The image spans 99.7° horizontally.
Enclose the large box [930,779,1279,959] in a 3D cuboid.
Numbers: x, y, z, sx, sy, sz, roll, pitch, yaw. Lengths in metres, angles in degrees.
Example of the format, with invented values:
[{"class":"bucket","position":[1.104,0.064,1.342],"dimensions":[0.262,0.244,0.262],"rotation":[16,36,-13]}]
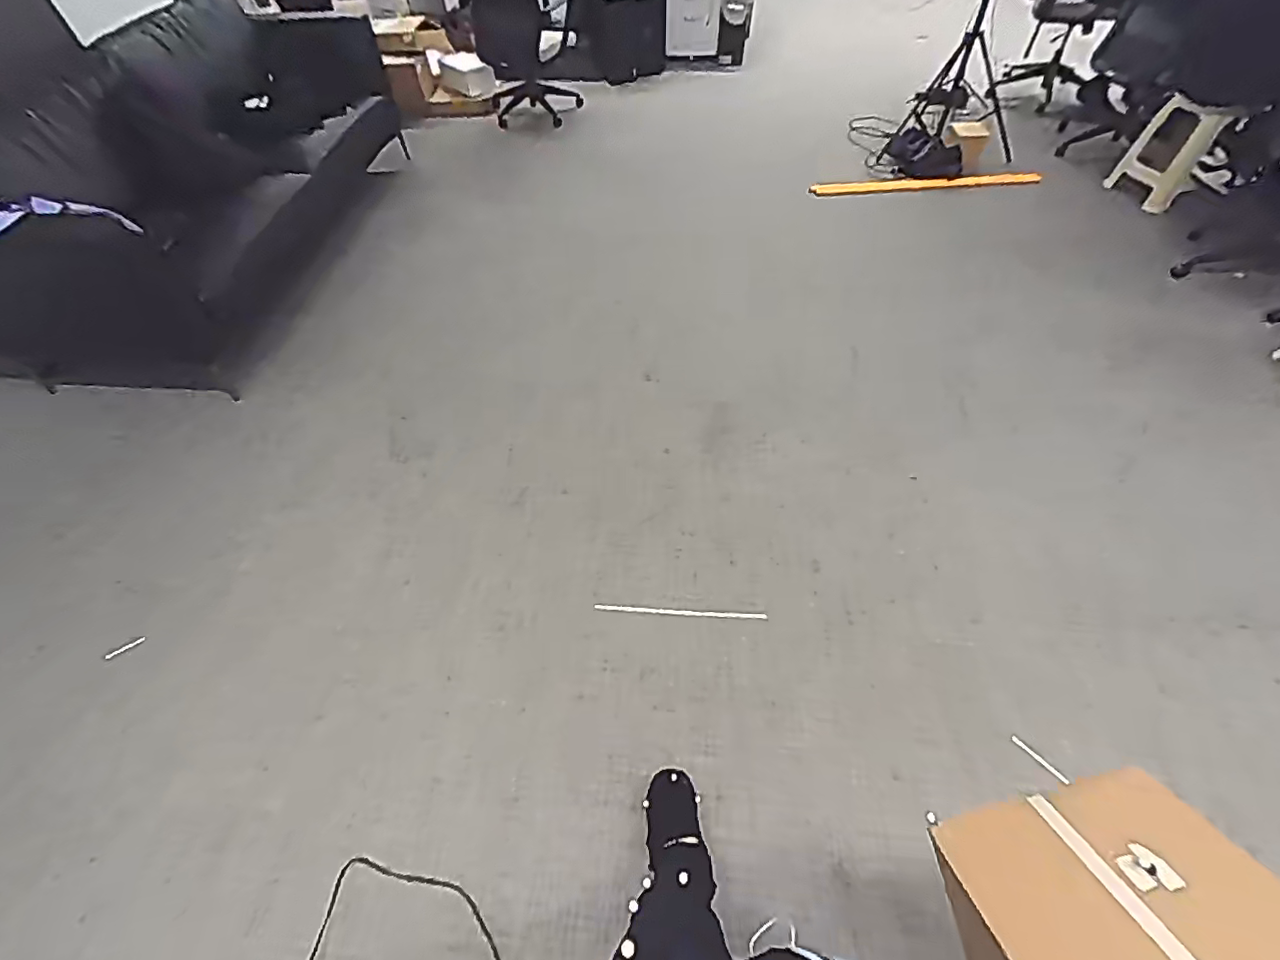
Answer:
[{"class":"large box","position":[0.625,0.657,0.627],"dimensions":[0.320,0.320,0.408],"rotation":[-18,9,4]}]
